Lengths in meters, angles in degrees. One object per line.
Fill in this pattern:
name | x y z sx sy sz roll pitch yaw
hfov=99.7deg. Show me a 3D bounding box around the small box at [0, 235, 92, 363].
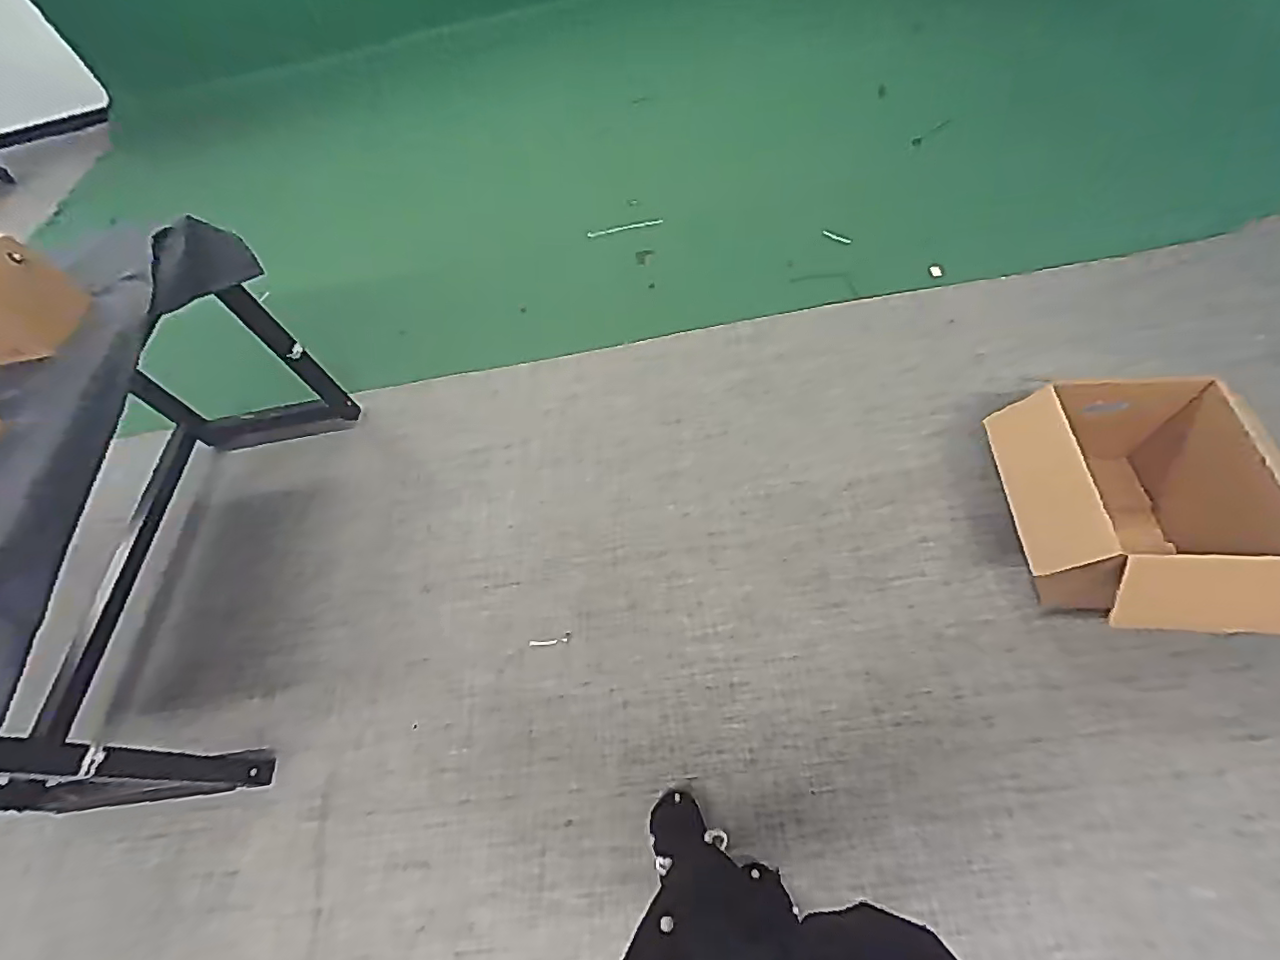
small box | -1.274 -0.351 1.080 0.168 0.176 0.179 -8 57 6
